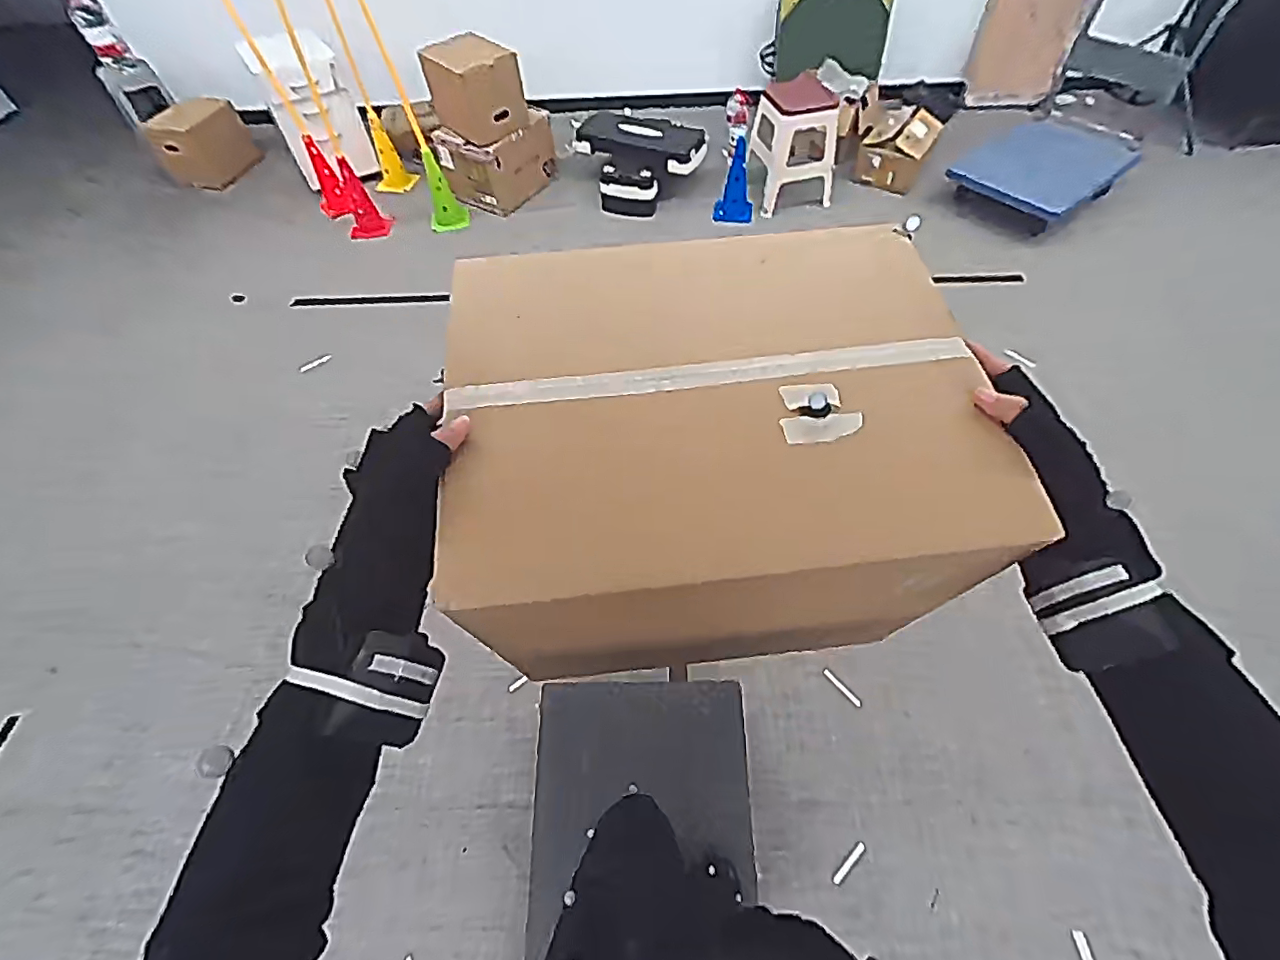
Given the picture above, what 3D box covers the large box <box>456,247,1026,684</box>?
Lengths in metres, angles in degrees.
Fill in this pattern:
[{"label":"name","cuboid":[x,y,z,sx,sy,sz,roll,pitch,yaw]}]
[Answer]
[{"label":"large box","cuboid":[0.055,0.004,0.564,0.408,0.320,0.320,-6,62,-3]}]
